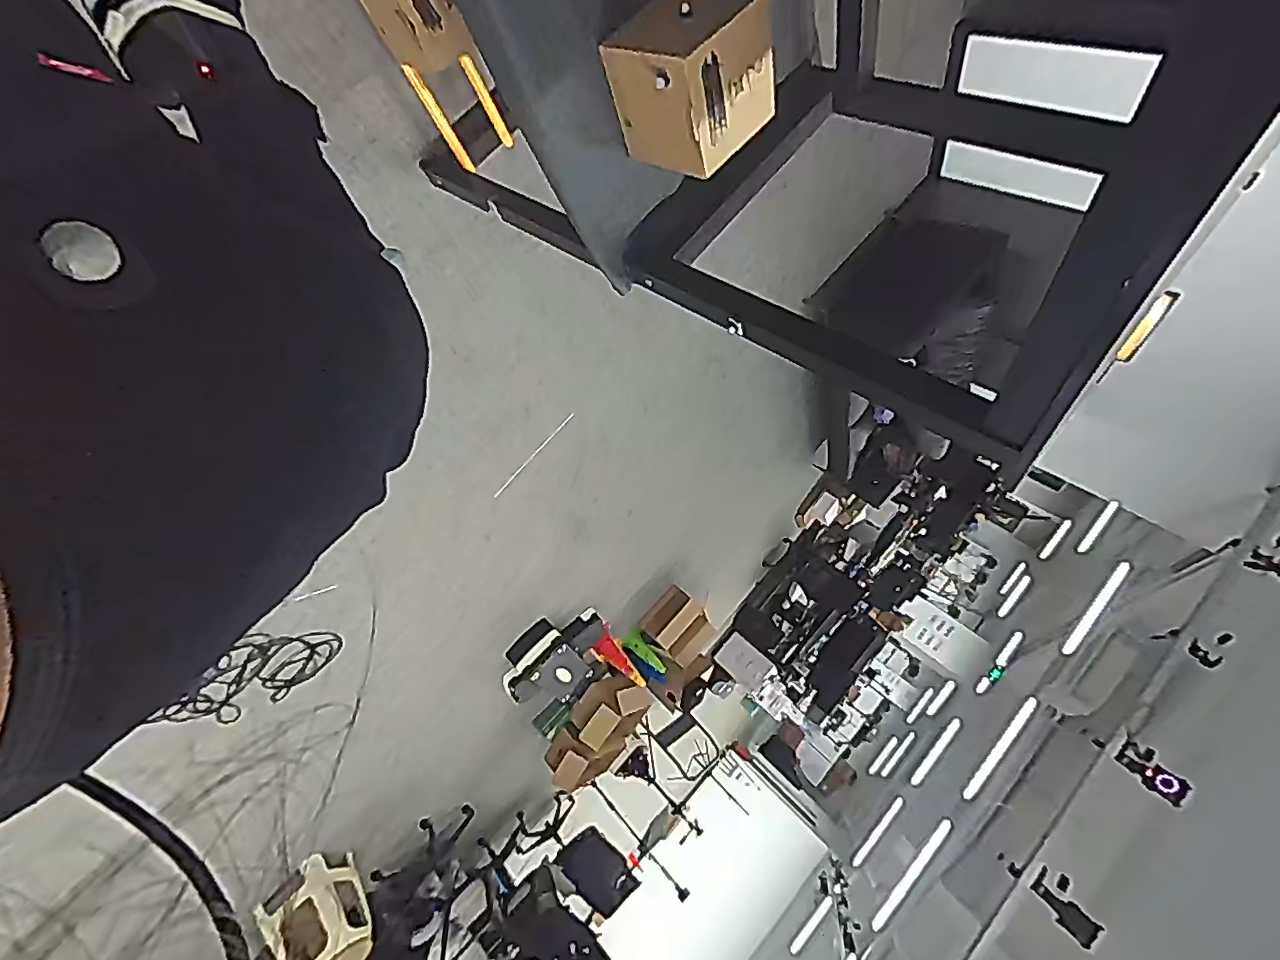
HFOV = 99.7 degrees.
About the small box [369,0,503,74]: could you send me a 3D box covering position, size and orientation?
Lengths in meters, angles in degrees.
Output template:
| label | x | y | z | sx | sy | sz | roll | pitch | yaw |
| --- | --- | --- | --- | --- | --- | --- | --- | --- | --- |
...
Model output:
| label | x | y | z | sx | sy | sz | roll | pitch | yaw |
| --- | --- | --- | --- | --- | --- | --- | --- | --- | --- |
| small box | -0.404 | -0.918 | 1.029 | 0.179 | 0.176 | 0.168 | -46 | 150 | -11 |
